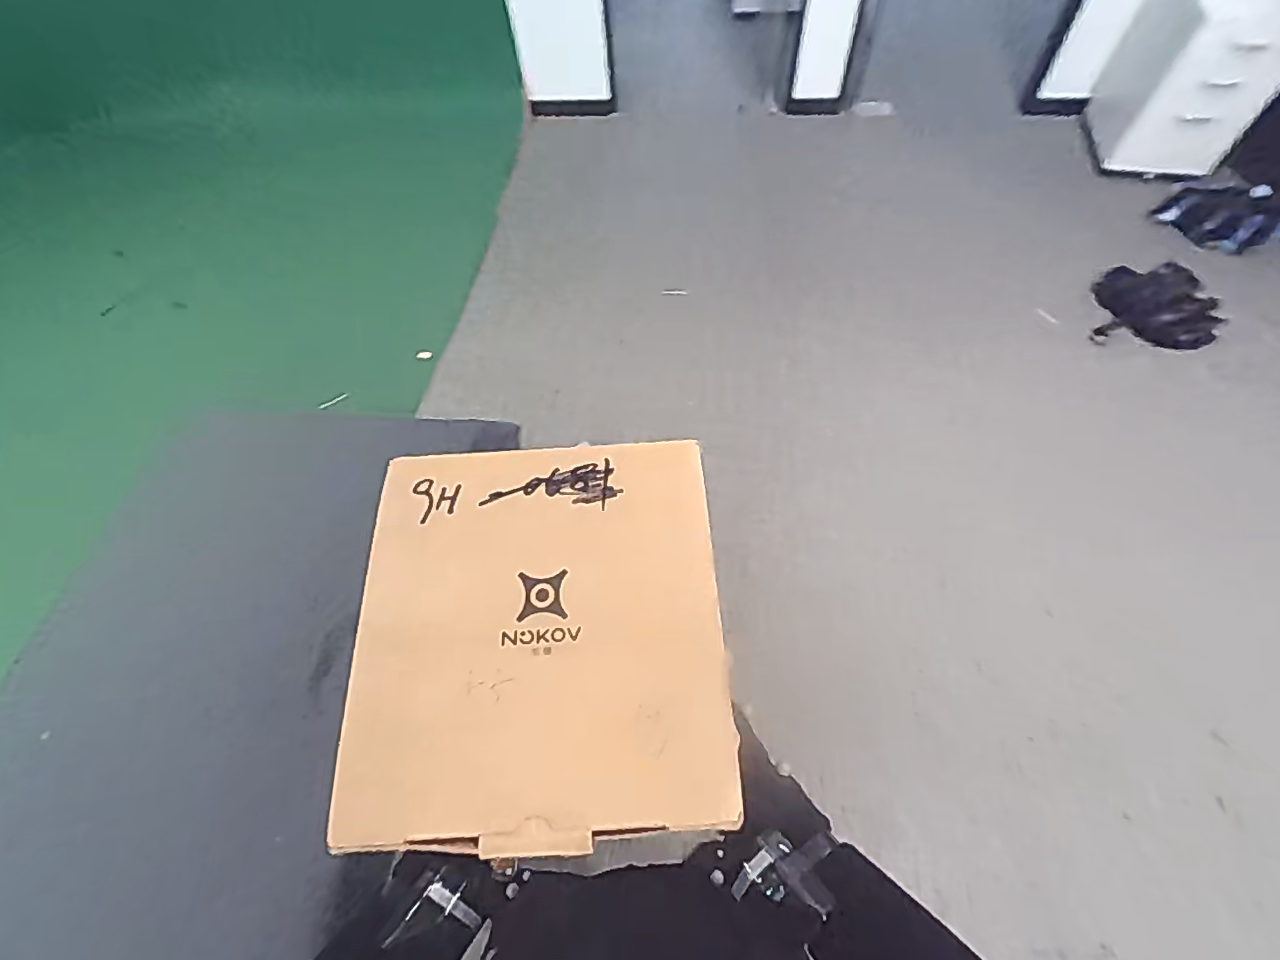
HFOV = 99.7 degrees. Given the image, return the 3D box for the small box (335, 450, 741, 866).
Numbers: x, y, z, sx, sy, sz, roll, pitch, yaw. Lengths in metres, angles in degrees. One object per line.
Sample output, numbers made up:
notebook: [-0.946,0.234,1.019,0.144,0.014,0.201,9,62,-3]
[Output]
small box: [-0.040,0.100,0.317,0.168,0.176,0.179,-3,66,0]
